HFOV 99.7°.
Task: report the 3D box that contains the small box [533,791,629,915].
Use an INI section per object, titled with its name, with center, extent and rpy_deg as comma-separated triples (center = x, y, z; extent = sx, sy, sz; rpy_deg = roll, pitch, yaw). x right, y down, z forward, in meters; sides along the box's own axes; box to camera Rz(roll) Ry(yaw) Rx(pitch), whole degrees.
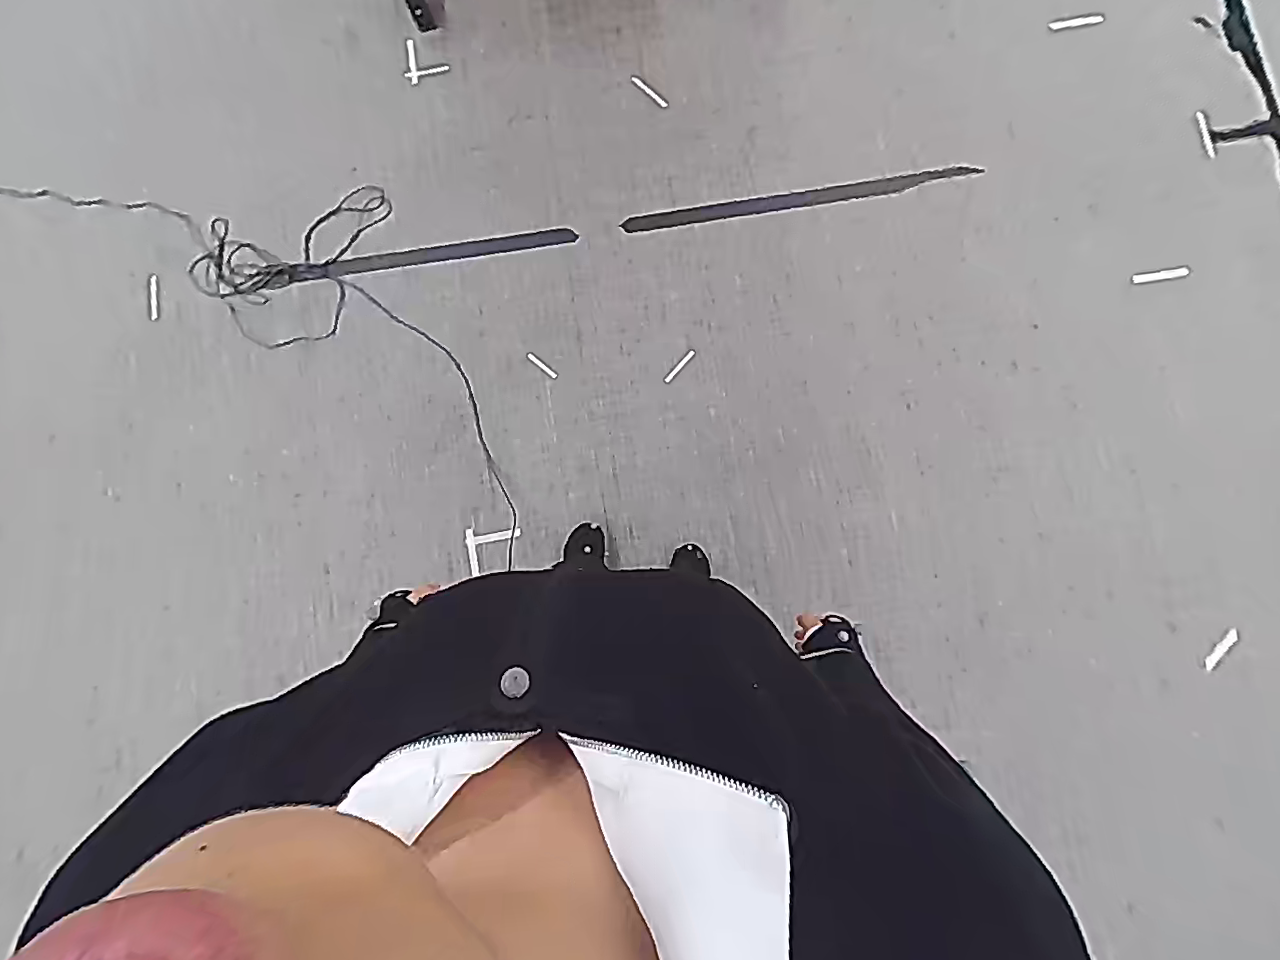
[small box]
center = -0.117, 0.784, 1.162
extent = 0.179, 0.176, 0.168
rpy_deg = -8, 84, 1
